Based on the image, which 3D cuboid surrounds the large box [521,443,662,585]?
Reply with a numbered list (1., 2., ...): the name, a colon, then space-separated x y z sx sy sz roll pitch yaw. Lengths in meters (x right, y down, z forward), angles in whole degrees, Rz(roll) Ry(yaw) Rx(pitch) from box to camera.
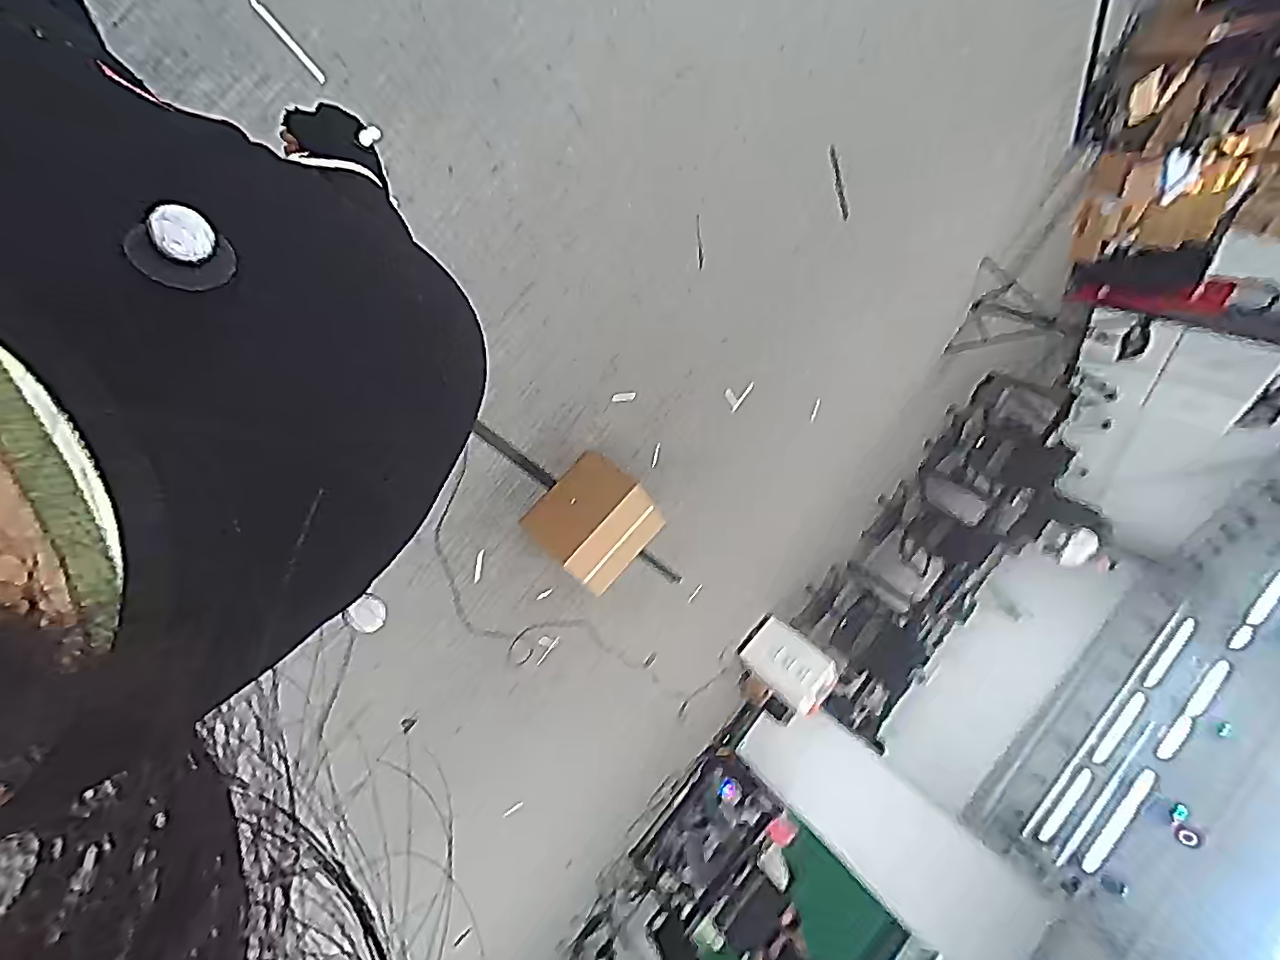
1. large box: -0.187 0.133 2.153 0.408 0.320 0.320 -48 142 -10
